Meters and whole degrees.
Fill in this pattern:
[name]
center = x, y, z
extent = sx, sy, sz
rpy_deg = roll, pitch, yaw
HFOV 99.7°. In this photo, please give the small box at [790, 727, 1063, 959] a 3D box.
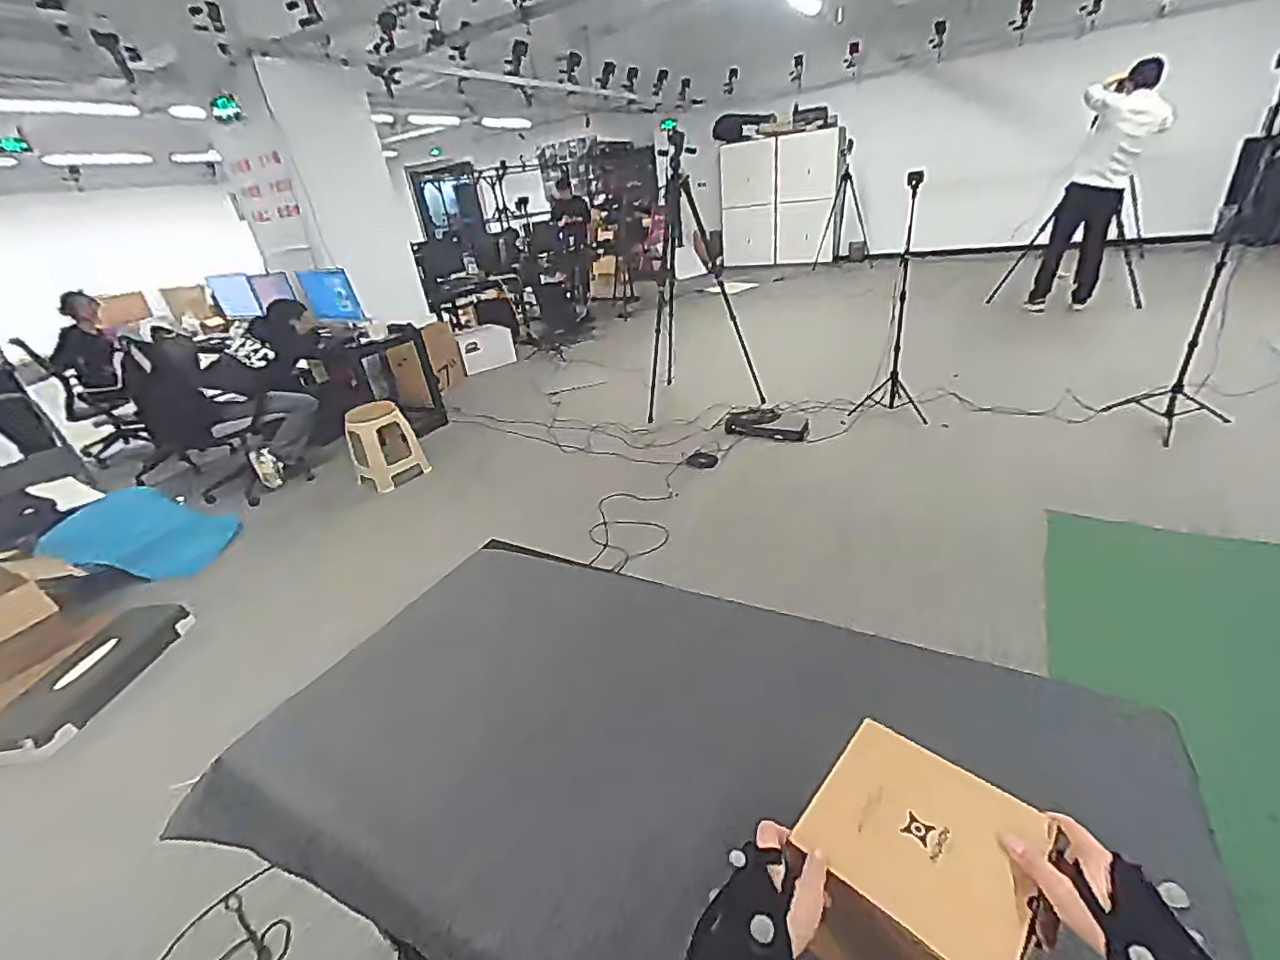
[small box]
center = 0.260, 0.387, 0.512
extent = 0.179, 0.176, 0.168
rpy_deg = 18, 36, 41
